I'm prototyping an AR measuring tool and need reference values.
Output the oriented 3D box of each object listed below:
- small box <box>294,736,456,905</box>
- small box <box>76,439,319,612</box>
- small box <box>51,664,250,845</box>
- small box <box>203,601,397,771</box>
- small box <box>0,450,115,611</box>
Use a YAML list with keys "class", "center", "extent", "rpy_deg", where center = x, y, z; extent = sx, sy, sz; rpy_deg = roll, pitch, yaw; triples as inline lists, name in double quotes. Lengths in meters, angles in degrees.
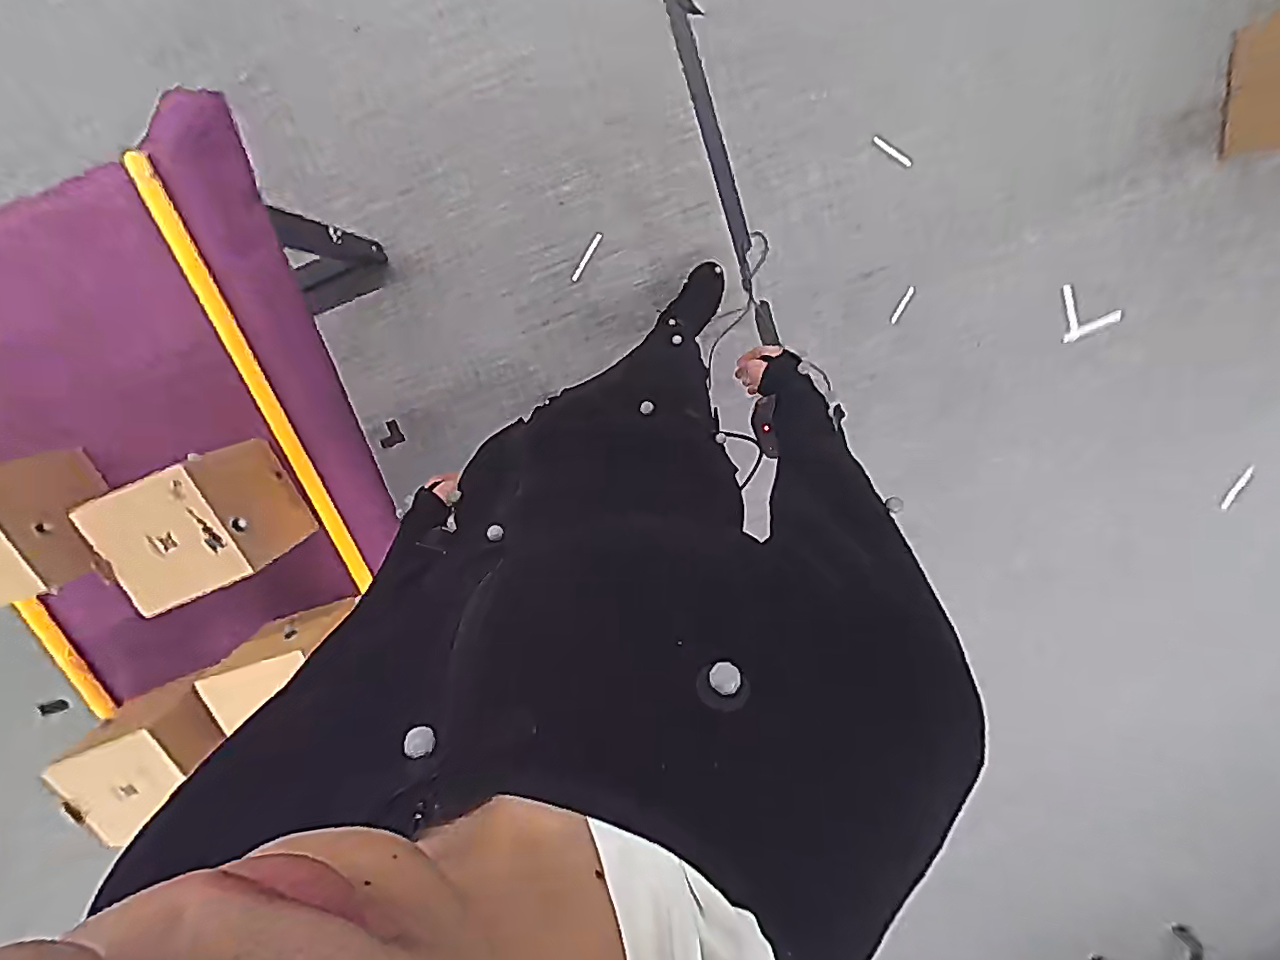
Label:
- class: "small box"
  center: [-0.445, 0.576, 0.939]
  extent: [0.168, 0.176, 0.179]
  rpy_deg: [-16, 106, 2]
- class: "small box"
  center: [-0.621, 0.058, 0.786]
  extent: [0.179, 0.176, 0.168]
  rpy_deg: [-22, 106, 6]
- class: "small box"
  center: [-0.763, 0.440, 0.888]
  extent: [0.179, 0.176, 0.168]
  rpy_deg: [-23, 106, 3]
- class: "small box"
  center: [-0.525, 0.315, 0.865]
  extent: [0.168, 0.176, 0.179]
  rpy_deg: [-18, 106, 3]
- class: "small box"
  center: [-0.890, 0.075, 0.778]
  extent: [0.168, 0.176, 0.179]
  rpy_deg: [-21, 106, 1]
